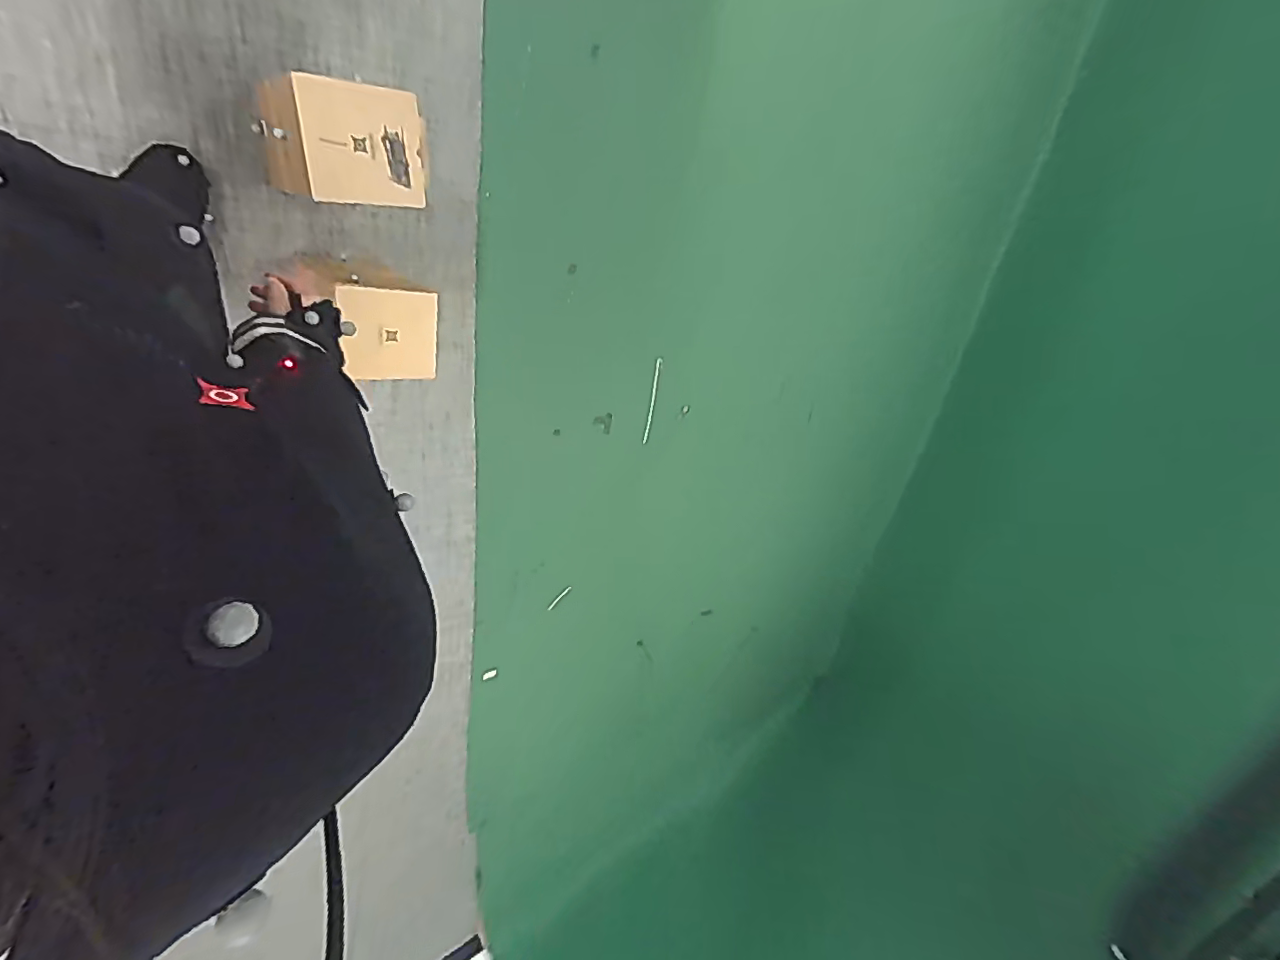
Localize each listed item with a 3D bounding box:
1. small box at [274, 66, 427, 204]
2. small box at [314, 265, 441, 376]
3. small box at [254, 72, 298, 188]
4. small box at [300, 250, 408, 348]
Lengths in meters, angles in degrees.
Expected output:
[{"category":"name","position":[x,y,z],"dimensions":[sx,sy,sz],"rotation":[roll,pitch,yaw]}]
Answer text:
[{"category":"small box","position":[-0.471,-0.558,0.887],"dimensions":[0.179,0.176,0.168],"rotation":[-16,125,-35]},{"category":"small box","position":[-0.499,-0.304,1.029],"dimensions":[0.179,0.176,0.168],"rotation":[-10,123,-39]},{"category":"small box","position":[-0.577,-0.626,0.991],"dimensions":[0.179,0.176,0.168],"rotation":[-15,125,-36]},{"category":"small box","position":[-0.600,-0.378,1.134],"dimensions":[0.179,0.176,0.168],"rotation":[-10,124,-37]}]
